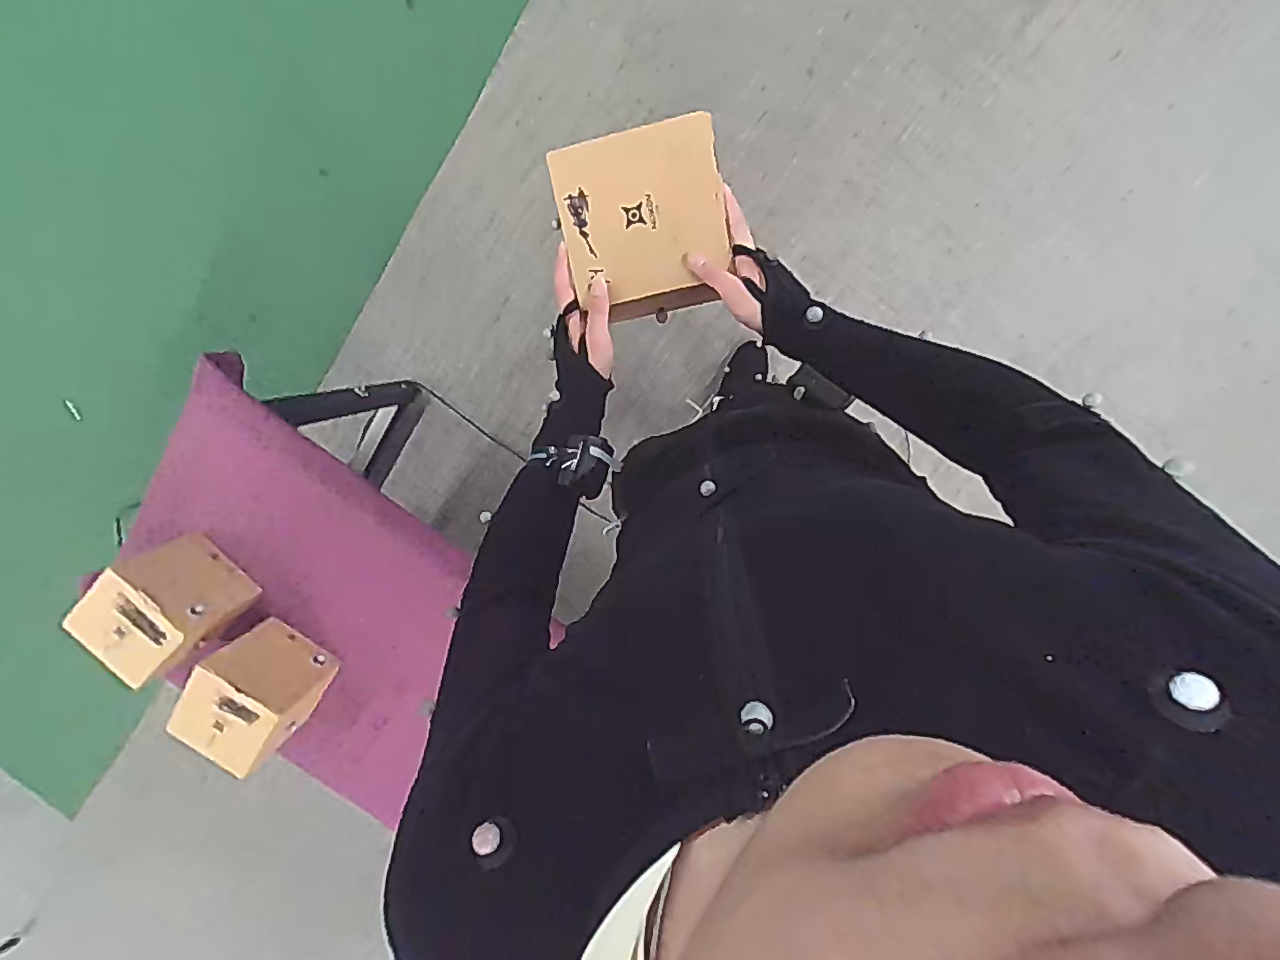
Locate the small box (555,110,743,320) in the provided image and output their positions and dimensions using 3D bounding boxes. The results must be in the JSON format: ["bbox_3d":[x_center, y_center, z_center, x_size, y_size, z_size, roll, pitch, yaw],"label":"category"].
[{"bbox_3d":[0.013,-0.296,0.642,0.179,0.176,0.168,-10,99,5],"label":"small box"}]
